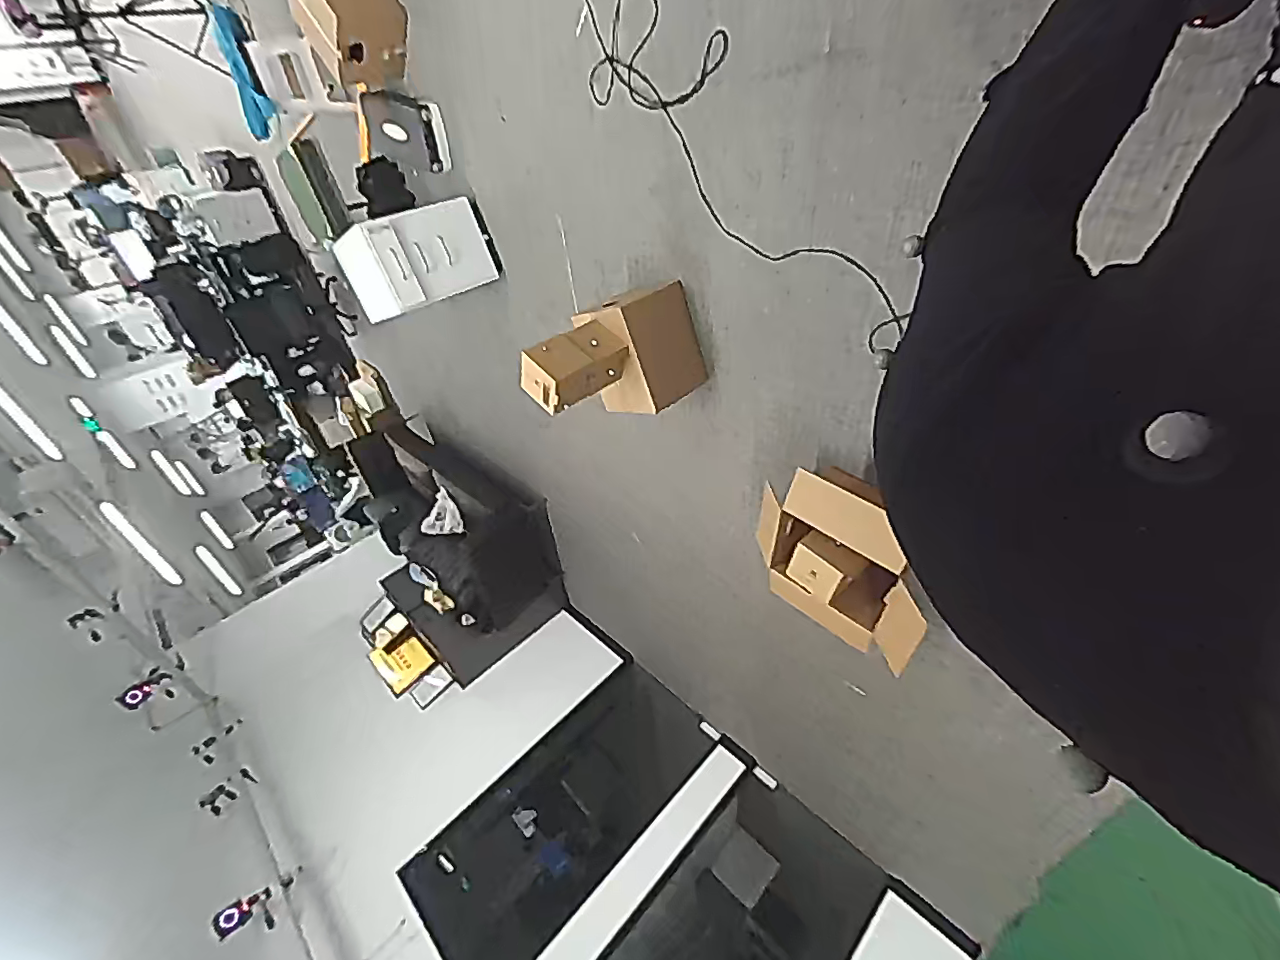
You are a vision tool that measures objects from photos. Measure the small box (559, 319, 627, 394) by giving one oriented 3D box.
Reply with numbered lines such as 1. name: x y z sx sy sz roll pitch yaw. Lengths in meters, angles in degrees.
1. small box: -0.167 -0.450 1.941 0.179 0.176 0.168 41 146 17

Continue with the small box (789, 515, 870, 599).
1. small box: 0.623 0.246 1.770 0.168 0.176 0.179 39 146 30
